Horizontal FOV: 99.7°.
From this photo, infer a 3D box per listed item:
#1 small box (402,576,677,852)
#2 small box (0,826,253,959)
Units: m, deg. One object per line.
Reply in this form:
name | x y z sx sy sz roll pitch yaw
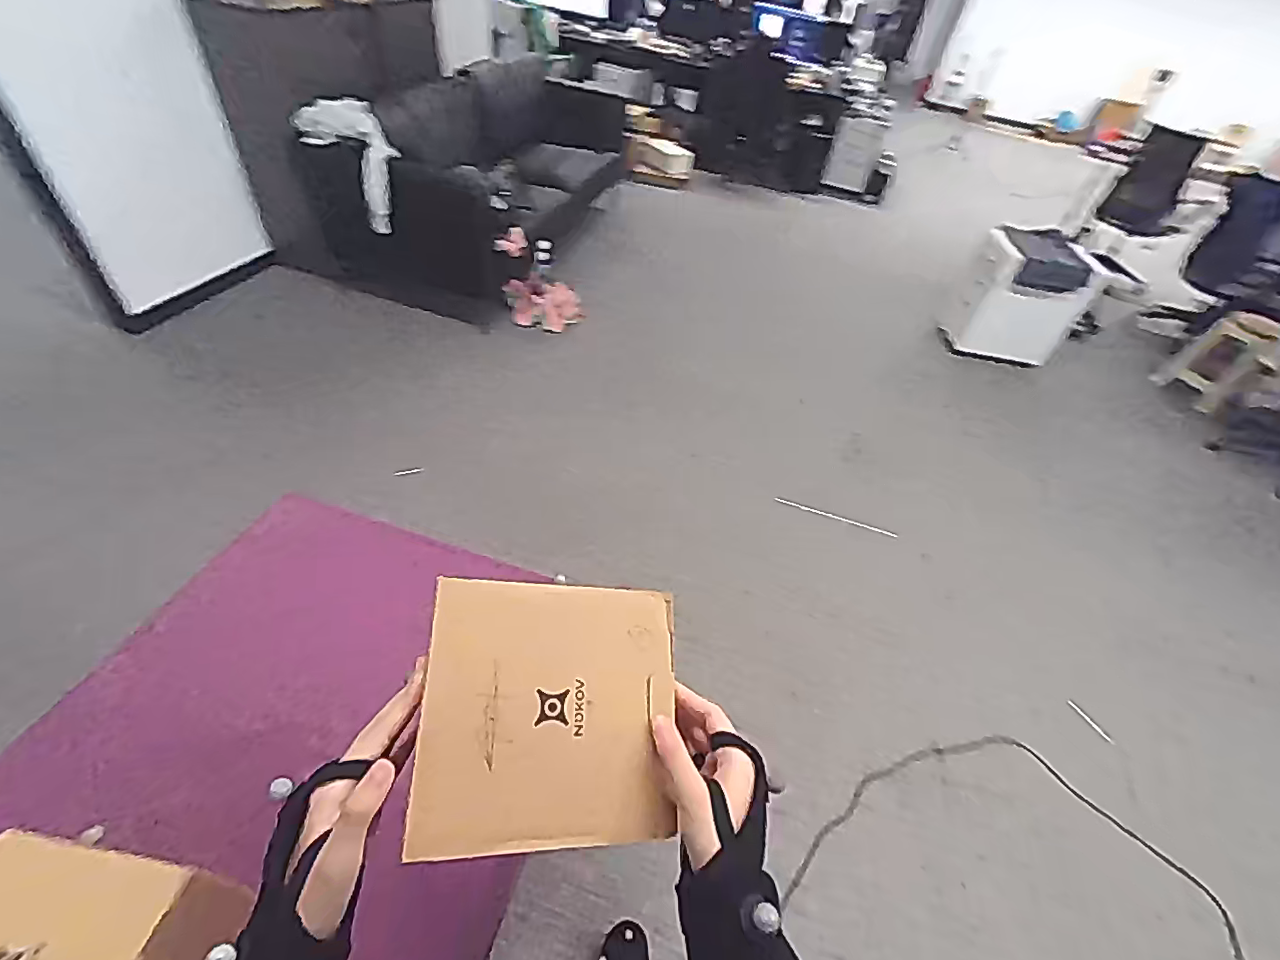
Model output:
small box | -0.082 0.180 0.441 0.179 0.176 0.168 9 68 -17
small box | -0.508 0.441 0.488 0.179 0.176 0.168 12 46 0
